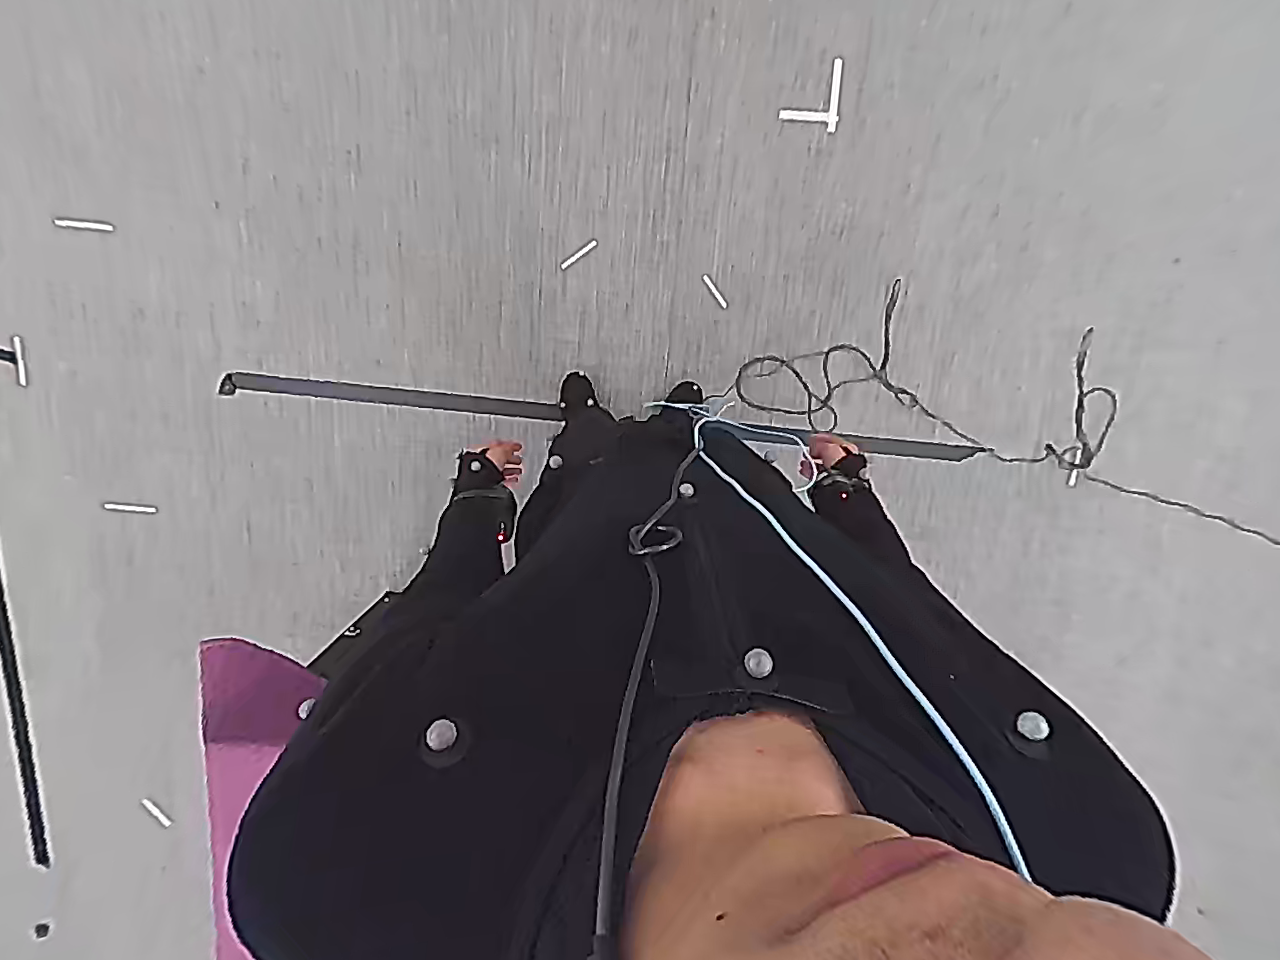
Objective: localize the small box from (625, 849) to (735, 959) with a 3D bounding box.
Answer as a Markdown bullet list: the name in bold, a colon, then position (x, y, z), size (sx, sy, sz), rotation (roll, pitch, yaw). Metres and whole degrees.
- **small box**: position (0.063, 0.812, 0.977), size (0.168, 0.176, 0.179), rotation (8, 101, -2)
